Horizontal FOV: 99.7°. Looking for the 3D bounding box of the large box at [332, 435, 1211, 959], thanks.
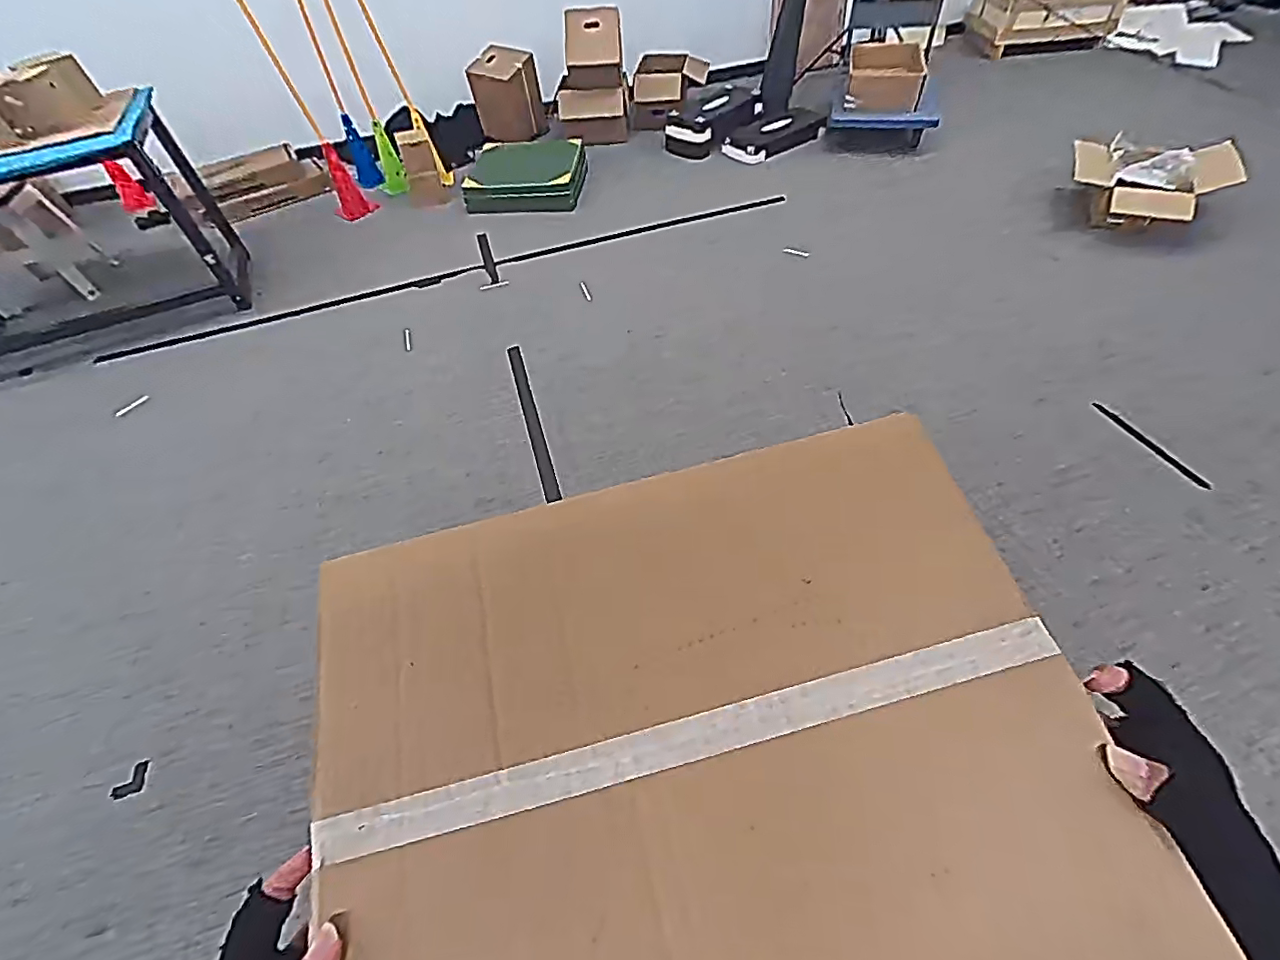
[{"bbox_3d":[0.044,0.215,0.428,0.408,0.320,0.320,-15,62,-3],"label":"large box"}]
